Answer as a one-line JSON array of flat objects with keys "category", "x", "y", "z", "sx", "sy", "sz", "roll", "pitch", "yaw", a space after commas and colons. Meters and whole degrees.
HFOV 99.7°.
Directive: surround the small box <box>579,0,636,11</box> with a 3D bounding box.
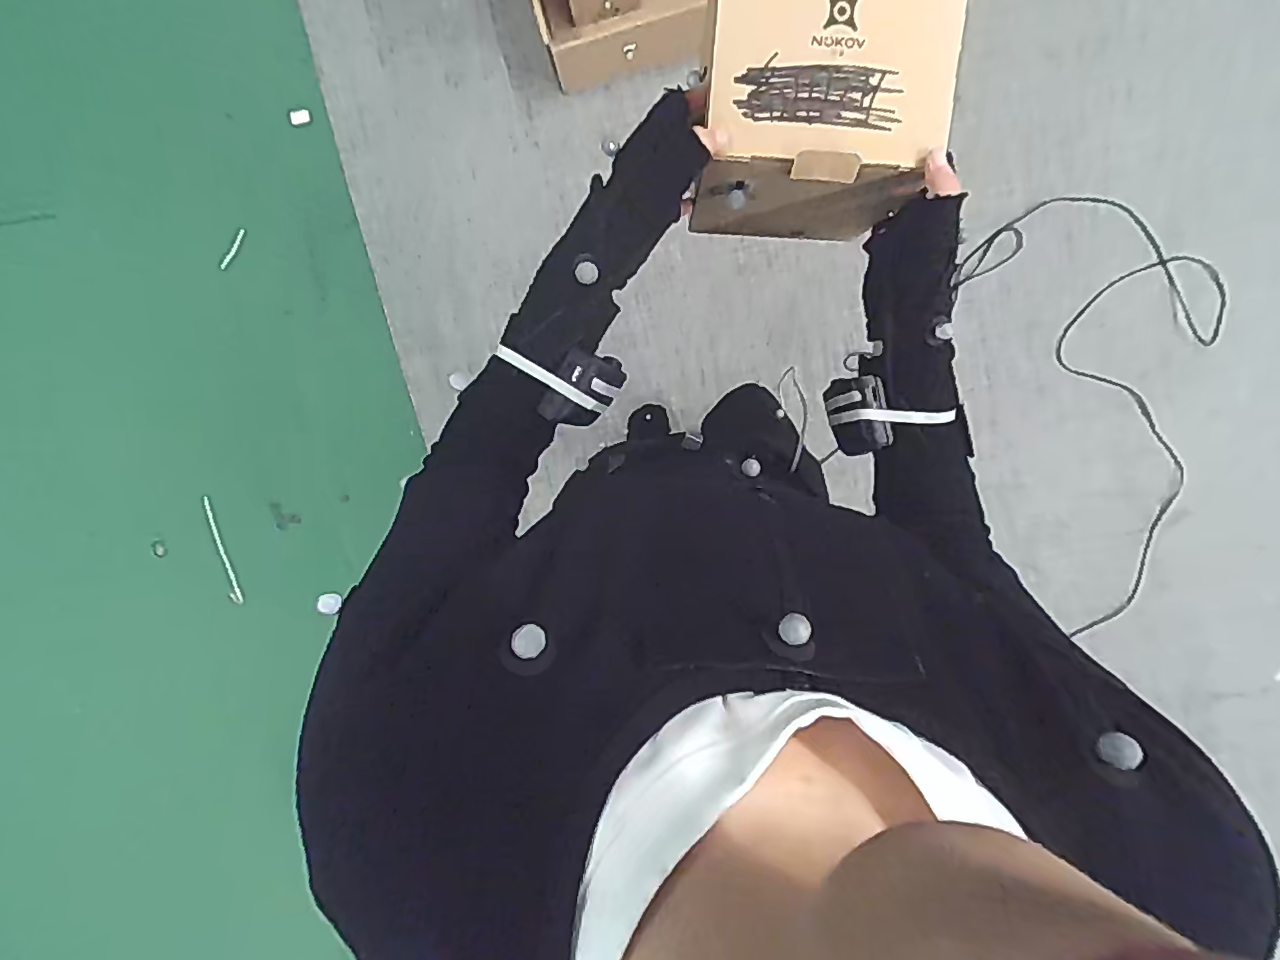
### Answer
[{"category": "small box", "x": -0.077, "y": -1.182, "z": 1.170, "sx": 0.168, "sy": 0.176, "sz": 0.179, "roll": -13, "pitch": 97, "yaw": 2}]
